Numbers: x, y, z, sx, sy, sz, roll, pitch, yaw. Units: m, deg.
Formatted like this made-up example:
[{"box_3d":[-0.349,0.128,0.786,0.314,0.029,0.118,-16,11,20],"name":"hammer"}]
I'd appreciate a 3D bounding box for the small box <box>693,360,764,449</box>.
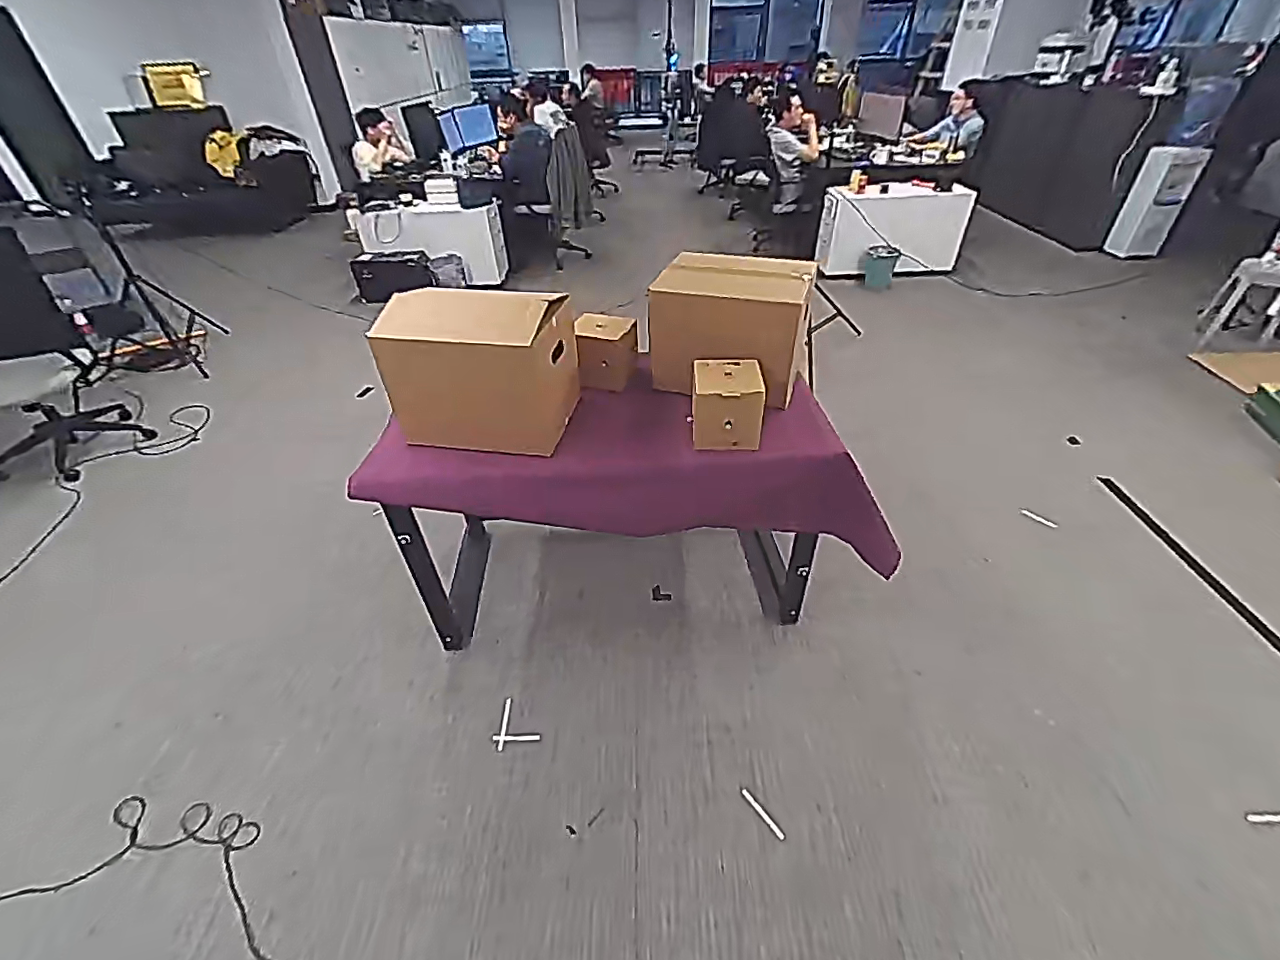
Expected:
[{"box_3d":[0.222,-0.192,1.388,0.168,0.176,0.179,0,39,4],"name":"small box"}]
